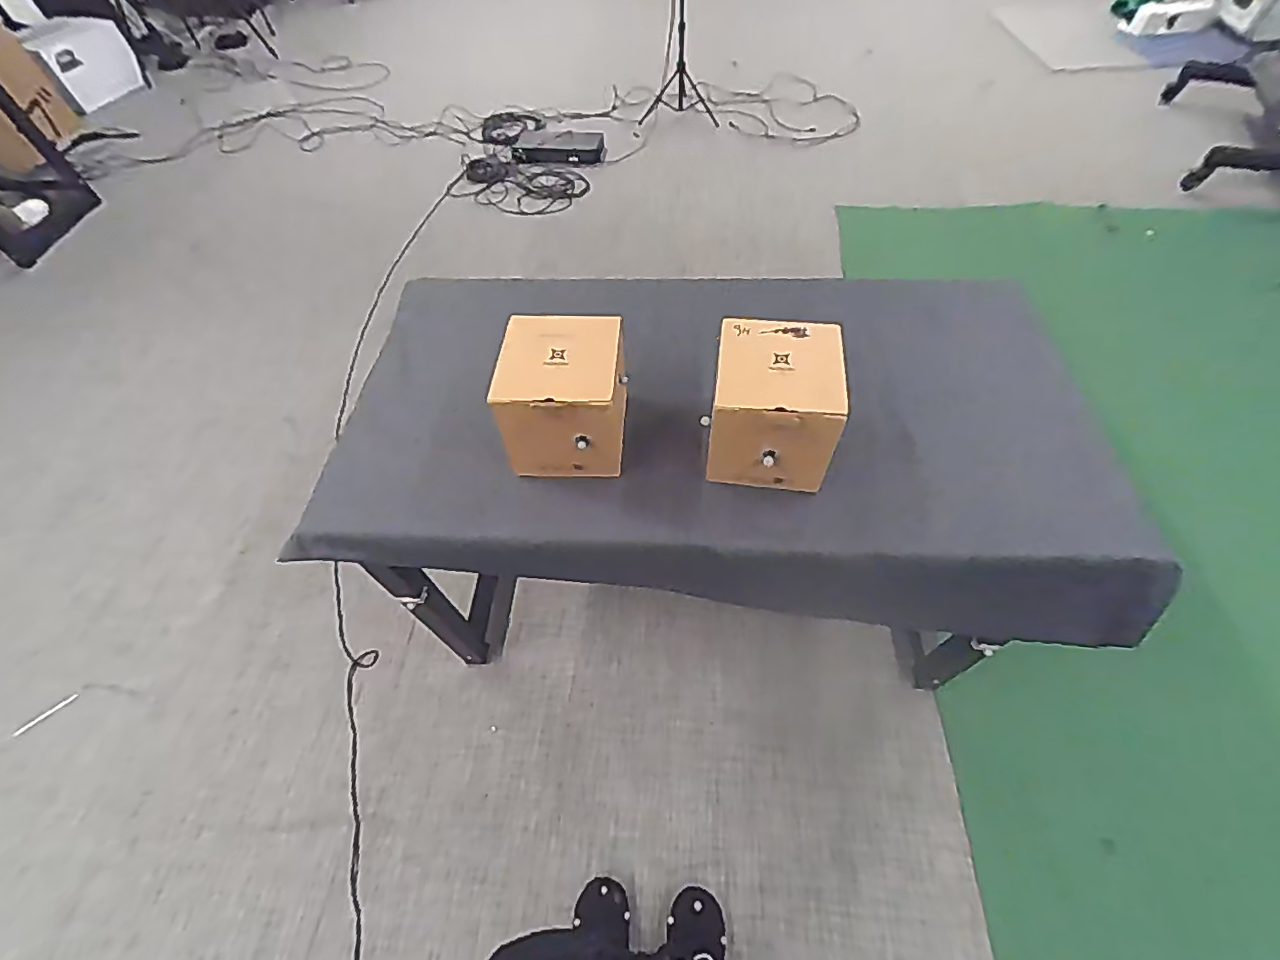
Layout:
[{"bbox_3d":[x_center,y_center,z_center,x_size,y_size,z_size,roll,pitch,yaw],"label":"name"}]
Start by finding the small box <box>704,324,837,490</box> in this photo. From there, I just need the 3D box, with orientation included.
[{"bbox_3d":[0.183,-0.103,0.791,0.168,0.176,0.179,5,56,7],"label":"small box"}]

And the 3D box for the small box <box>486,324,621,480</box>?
[{"bbox_3d":[-0.117,-0.114,0.820,0.168,0.176,0.179,0,53,2],"label":"small box"}]
